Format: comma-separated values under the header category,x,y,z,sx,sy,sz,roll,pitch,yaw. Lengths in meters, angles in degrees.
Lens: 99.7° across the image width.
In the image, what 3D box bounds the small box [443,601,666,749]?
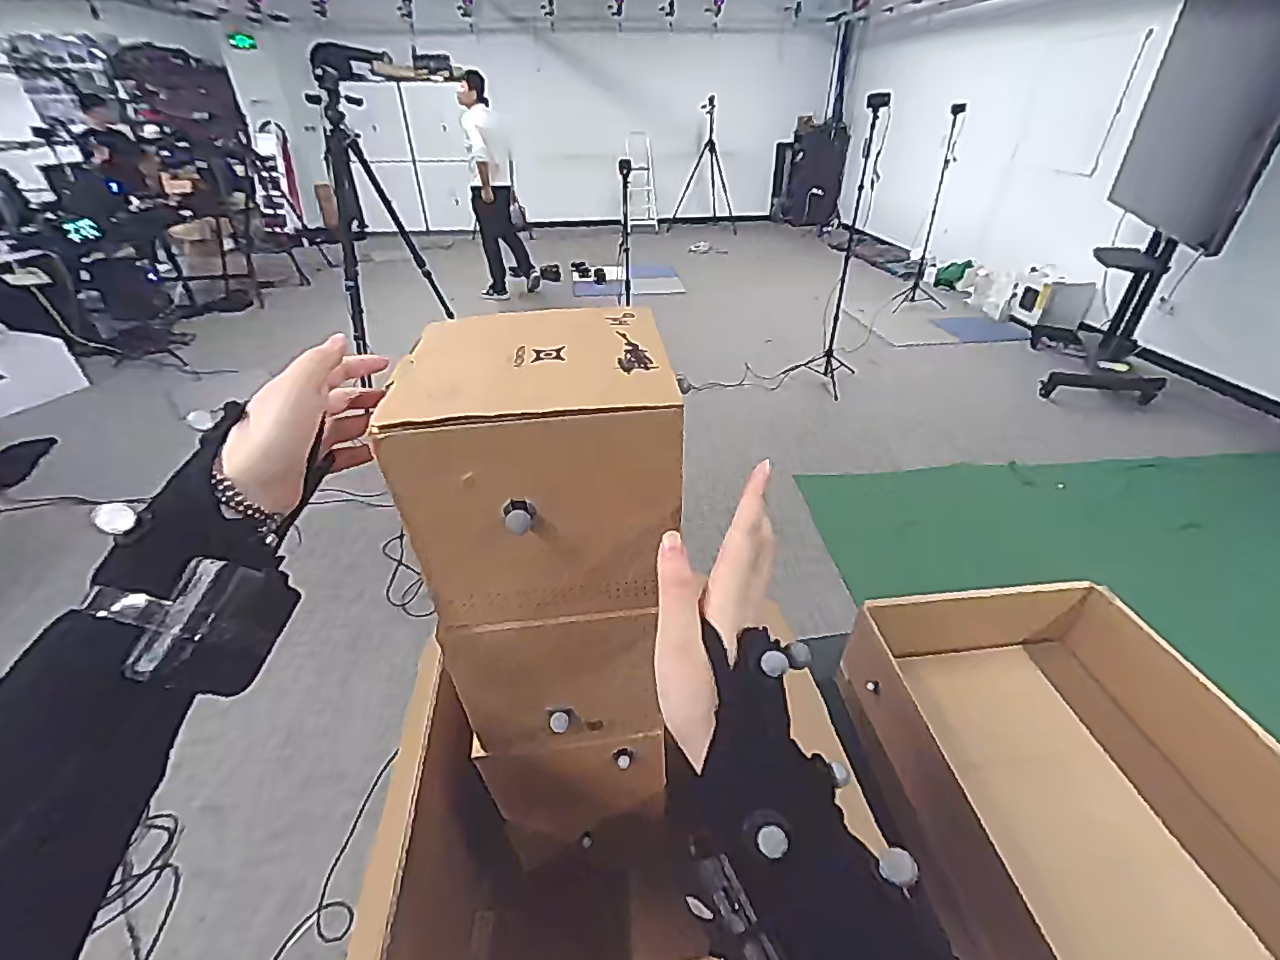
category,x,y,z,sx,sy,sz,roll,pitch,yaw
small box,-0.069,0.120,0.508,0.168,0.176,0.179,-5,38,-4

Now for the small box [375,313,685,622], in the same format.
category,x,y,z,sx,sy,sz,roll,pitch,yaw
small box,-0.064,-0.011,0.410,0.179,0.176,0.168,-6,38,-3
